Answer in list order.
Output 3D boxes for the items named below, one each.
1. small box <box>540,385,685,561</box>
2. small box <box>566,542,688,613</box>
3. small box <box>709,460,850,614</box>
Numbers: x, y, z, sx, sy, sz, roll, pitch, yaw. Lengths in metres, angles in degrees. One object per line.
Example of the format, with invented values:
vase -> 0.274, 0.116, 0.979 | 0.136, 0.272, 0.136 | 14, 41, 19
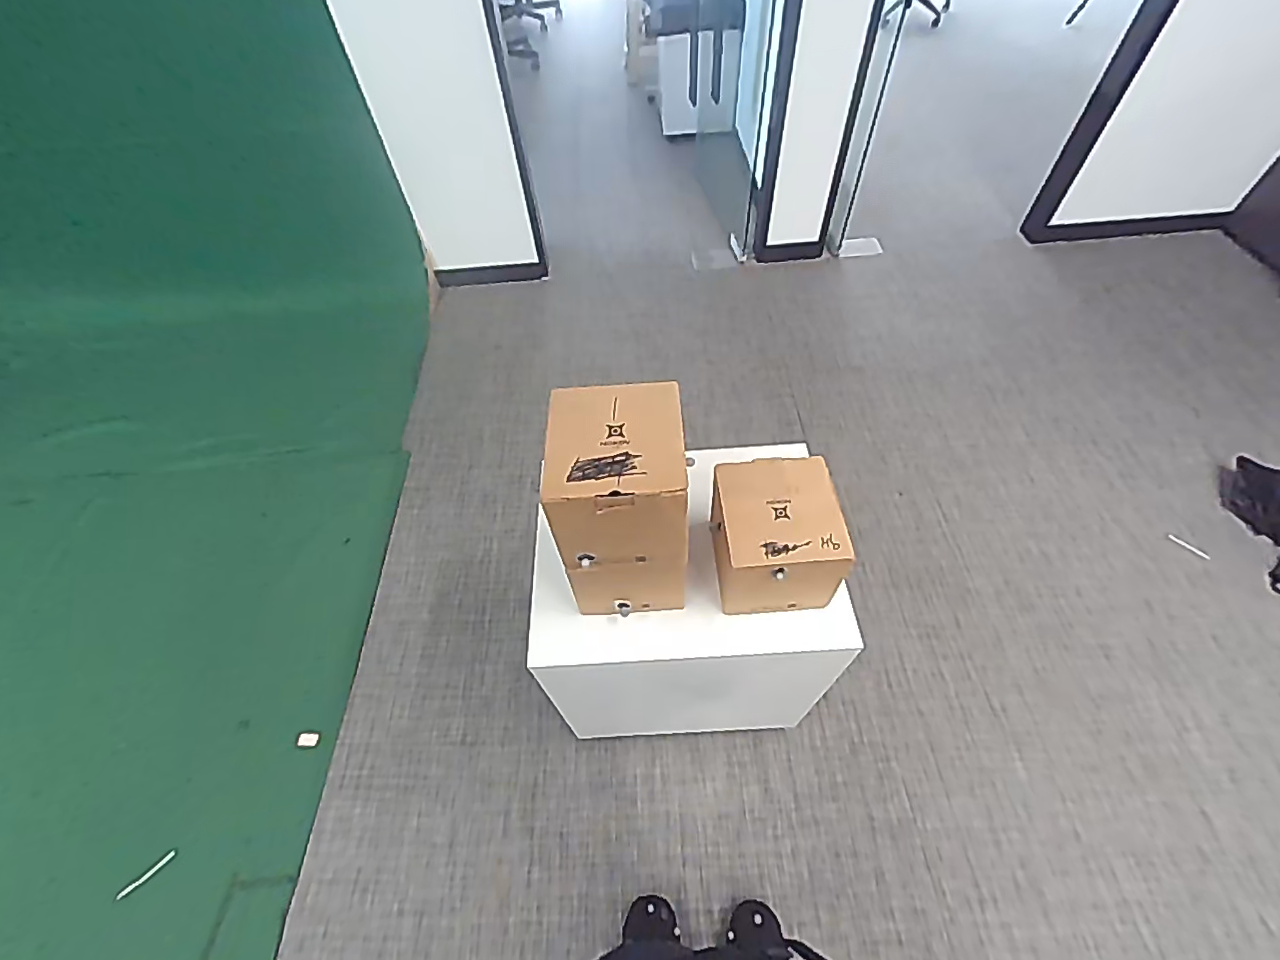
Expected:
small box -> -0.027, -0.002, 0.717 | 0.168, 0.176, 0.179 | -3, 52, 2
small box -> -0.020, 0.087, 0.836 | 0.168, 0.176, 0.179 | -6, 55, 0
small box -> 0.201, 0.090, 0.836 | 0.168, 0.176, 0.179 | -4, 53, 1
